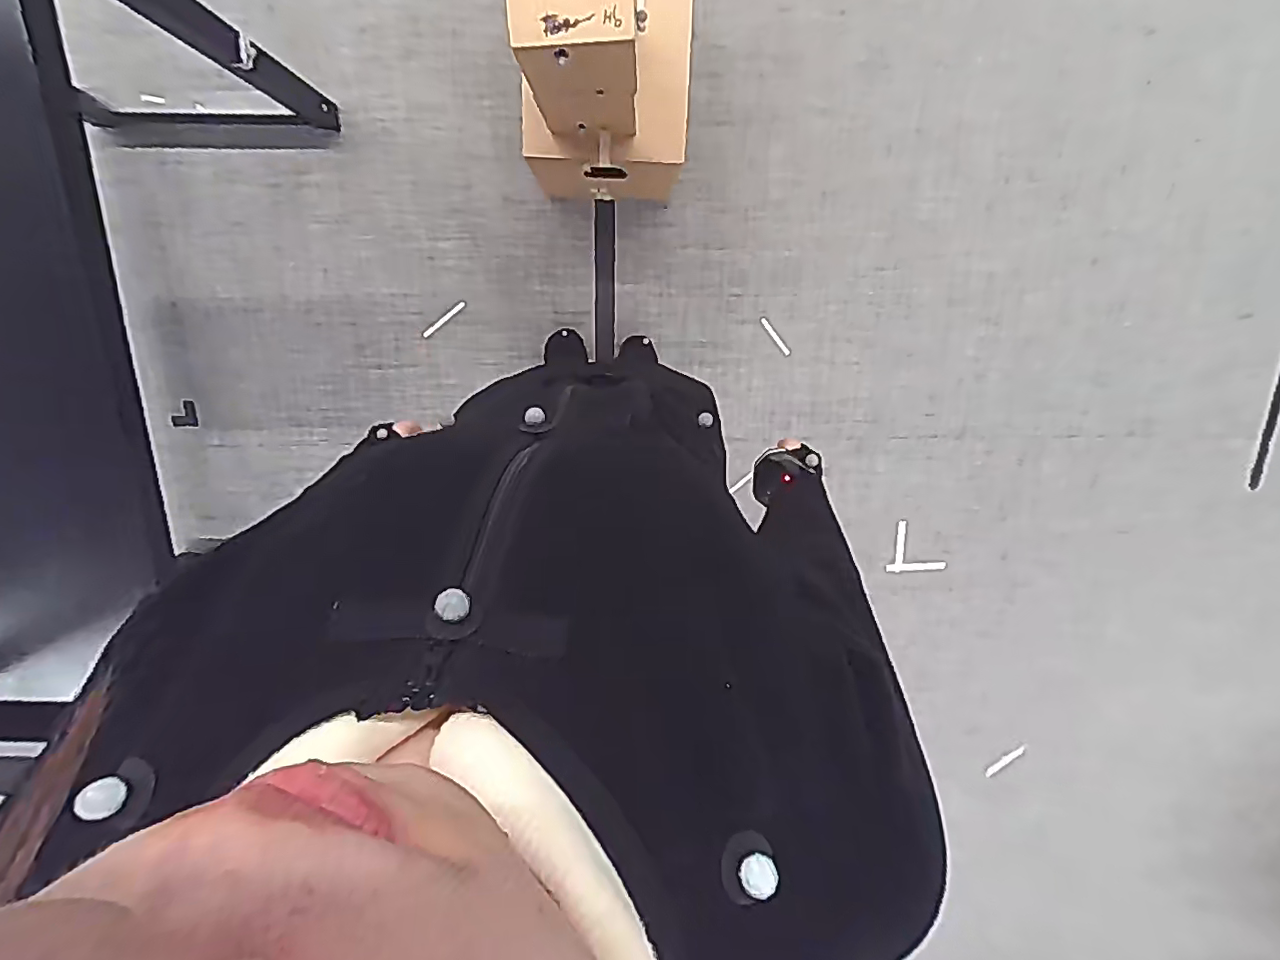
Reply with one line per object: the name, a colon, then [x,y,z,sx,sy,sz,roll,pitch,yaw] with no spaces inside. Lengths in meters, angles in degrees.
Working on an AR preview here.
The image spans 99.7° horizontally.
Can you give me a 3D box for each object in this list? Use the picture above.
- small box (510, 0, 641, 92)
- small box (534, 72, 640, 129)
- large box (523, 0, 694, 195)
small box: [-0.083,-0.674,0.746,0.168,0.176,0.179,-2,104,2]
small box: [-0.083,-0.718,0.903,0.168,0.176,0.179,1,106,1]
large box: [-0.060,-0.847,1.121,0.320,0.320,0.408,2,105,-2]
